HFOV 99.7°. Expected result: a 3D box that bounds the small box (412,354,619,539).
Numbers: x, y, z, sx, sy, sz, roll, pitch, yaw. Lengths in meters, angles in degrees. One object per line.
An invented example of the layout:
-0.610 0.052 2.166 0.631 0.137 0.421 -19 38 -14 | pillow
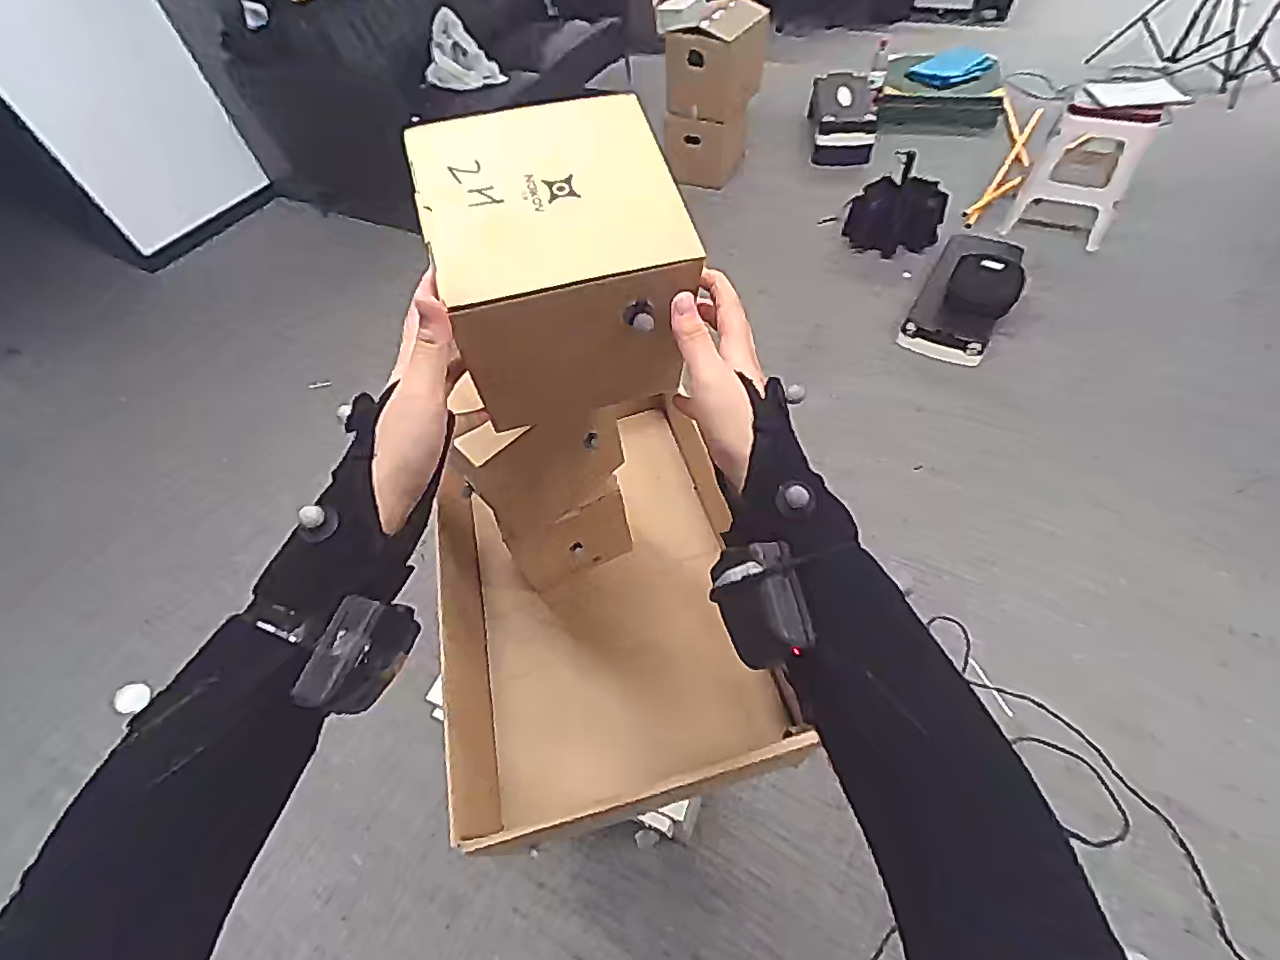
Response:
-0.142 -0.061 0.685 0.179 0.176 0.168 -41 59 -19 | small box

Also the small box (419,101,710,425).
-0.059 -0.167 0.451 0.179 0.176 0.168 -15 70 -7 | small box
